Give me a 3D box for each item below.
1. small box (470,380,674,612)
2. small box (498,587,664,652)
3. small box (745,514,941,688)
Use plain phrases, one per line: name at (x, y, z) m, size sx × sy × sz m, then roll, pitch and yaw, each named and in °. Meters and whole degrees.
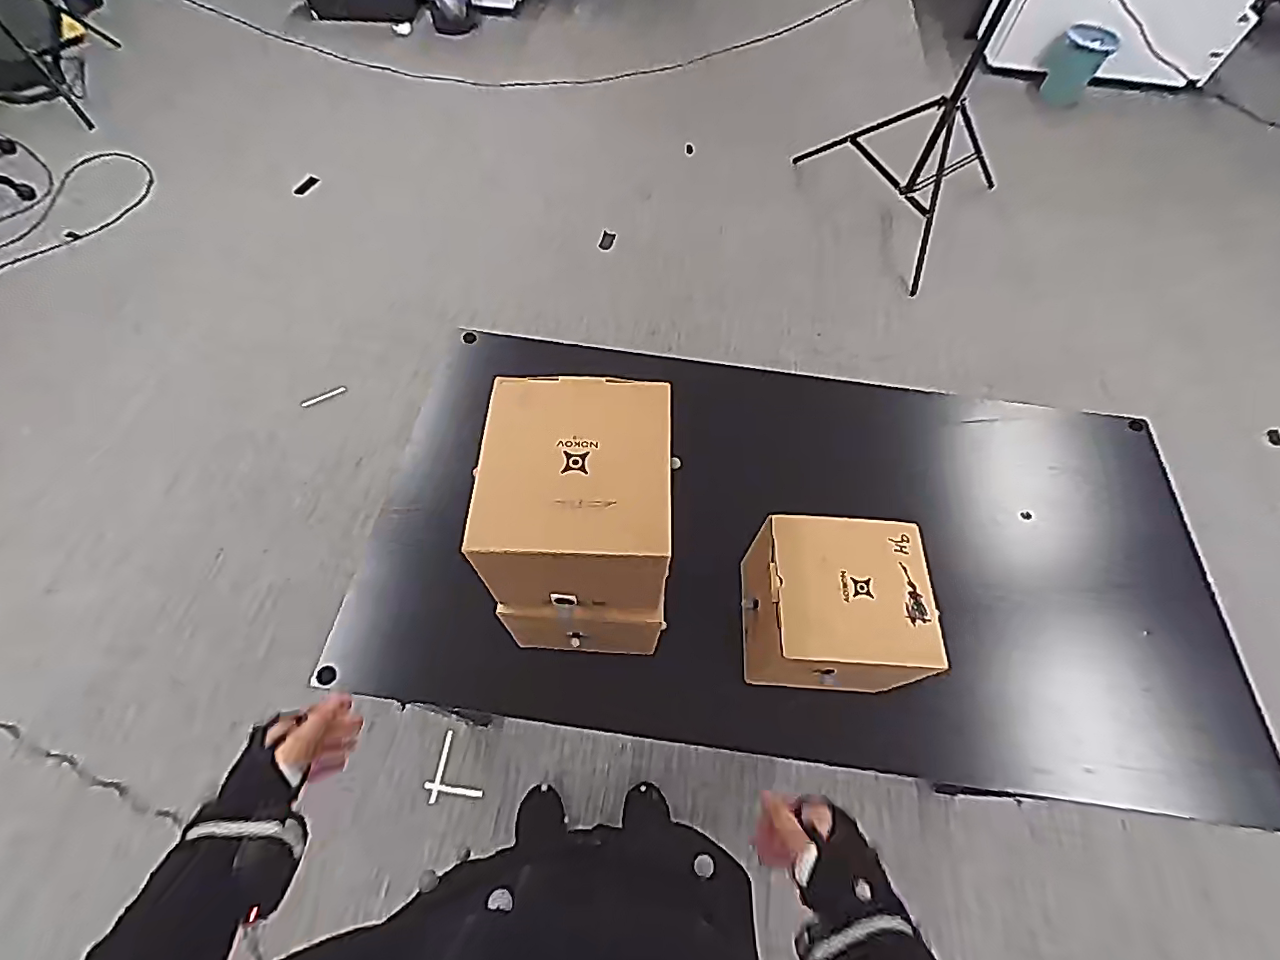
small box at (-0.055, 0.022, 0.539) m, size 0.168 × 0.176 × 0.179 m, roll 1°, pitch 62°, yaw -1°
small box at (-0.061, 0.112, 0.675) m, size 0.179 × 0.176 × 0.168 m, roll 3°, pitch 61°, yaw 0°
small box at (0.228, 0.155, 0.666) m, size 0.179 × 0.176 × 0.168 m, roll 3°, pitch 61°, yaw 0°
